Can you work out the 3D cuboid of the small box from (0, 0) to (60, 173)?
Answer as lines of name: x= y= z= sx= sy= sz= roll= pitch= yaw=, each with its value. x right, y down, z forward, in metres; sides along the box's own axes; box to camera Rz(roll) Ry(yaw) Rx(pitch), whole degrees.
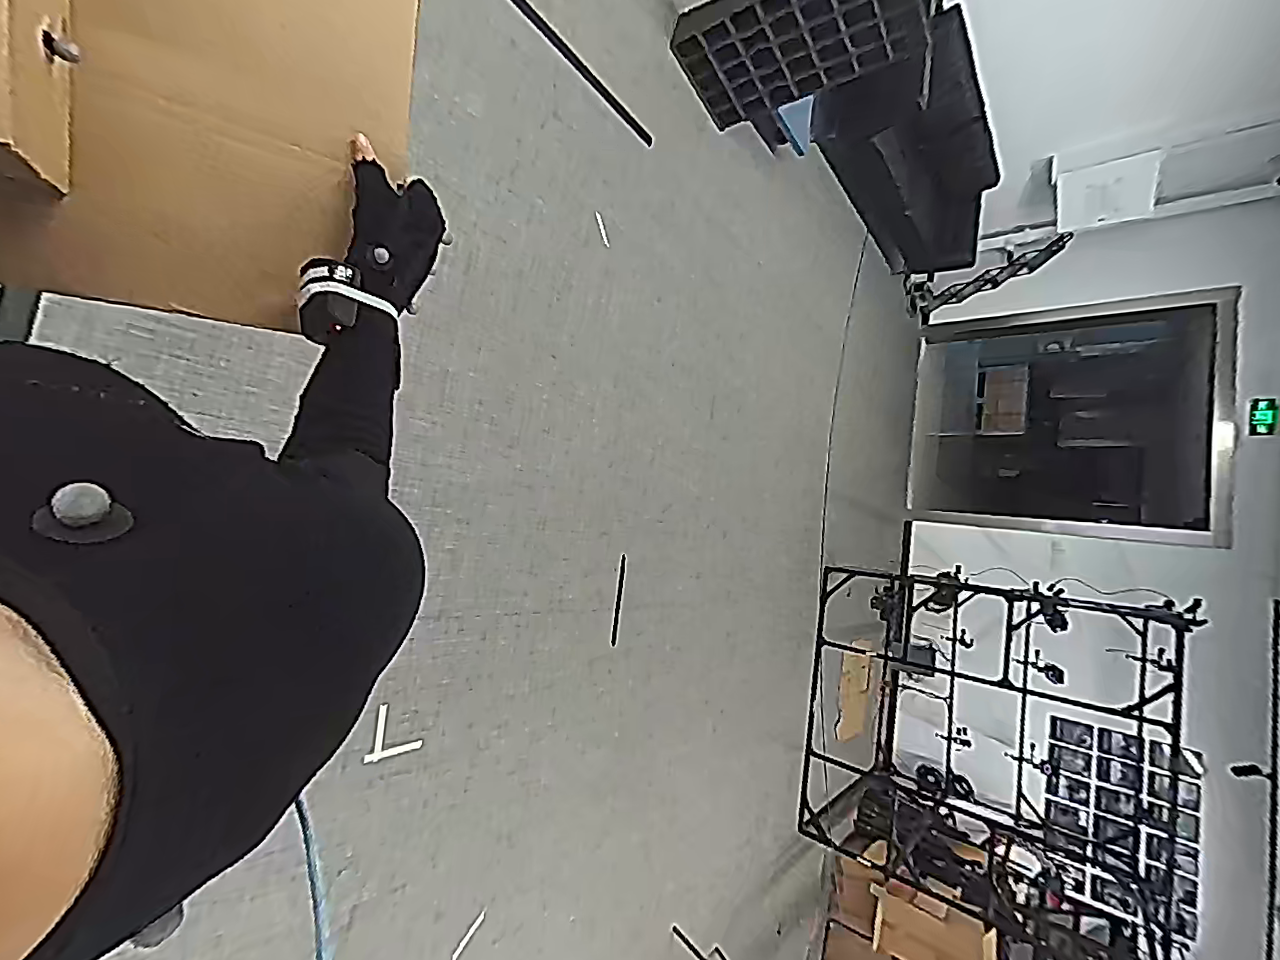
small box: x=-0.431 y=-0.280 z=0.274 sx=0.179 sy=0.176 sz=0.168 roll=3 pitch=102 yaw=-41
